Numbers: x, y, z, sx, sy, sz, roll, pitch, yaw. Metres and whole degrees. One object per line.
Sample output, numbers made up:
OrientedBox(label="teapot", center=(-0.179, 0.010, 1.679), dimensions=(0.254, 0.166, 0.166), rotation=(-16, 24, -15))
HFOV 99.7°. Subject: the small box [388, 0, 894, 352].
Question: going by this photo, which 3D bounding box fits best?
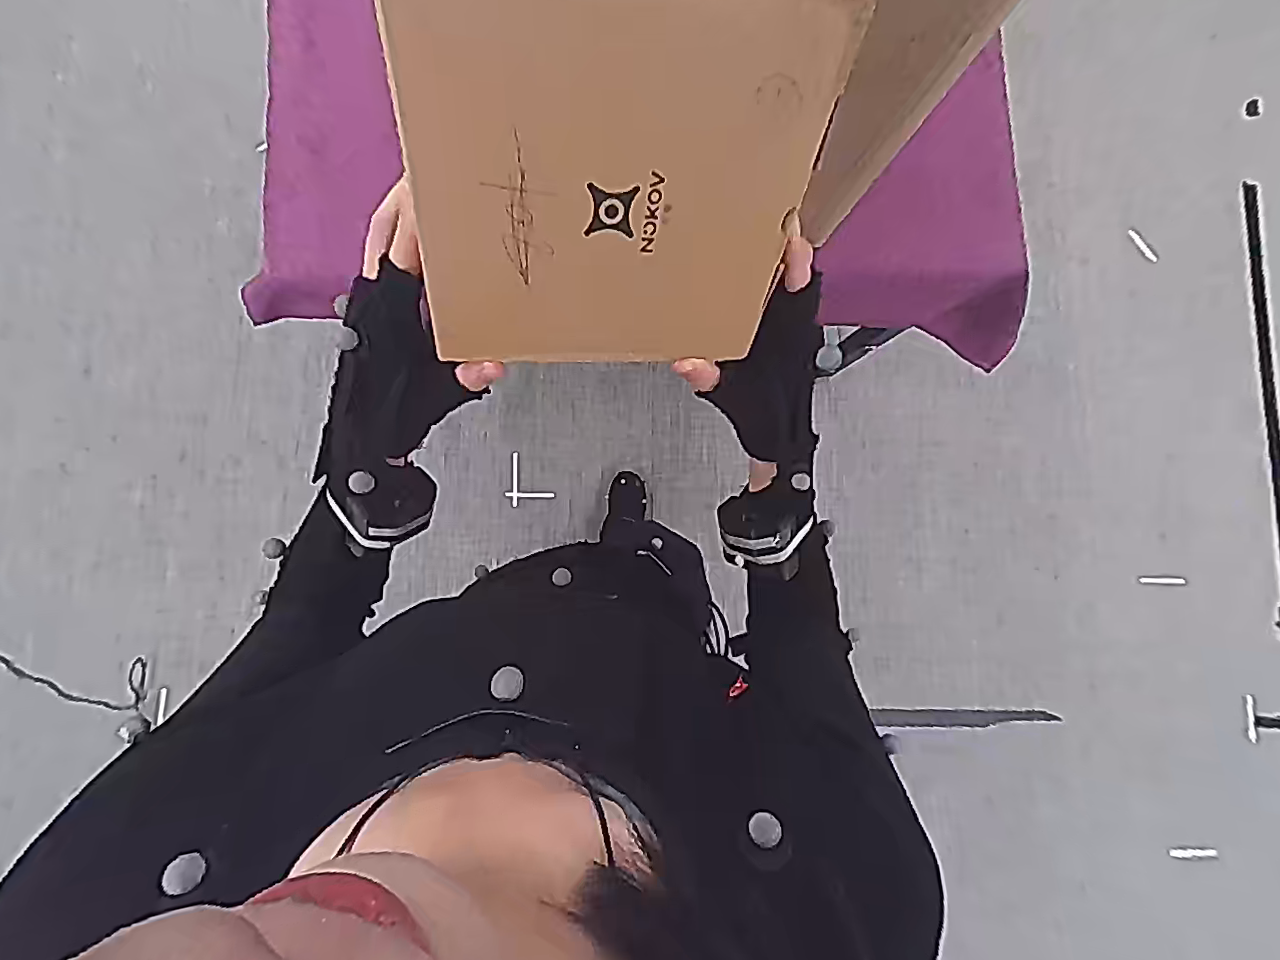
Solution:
OrientedBox(label="small box", center=(-0.017, -0.184, 0.278), dimensions=(0.179, 0.168, 0.176), rotation=(-3, 50, -12))
